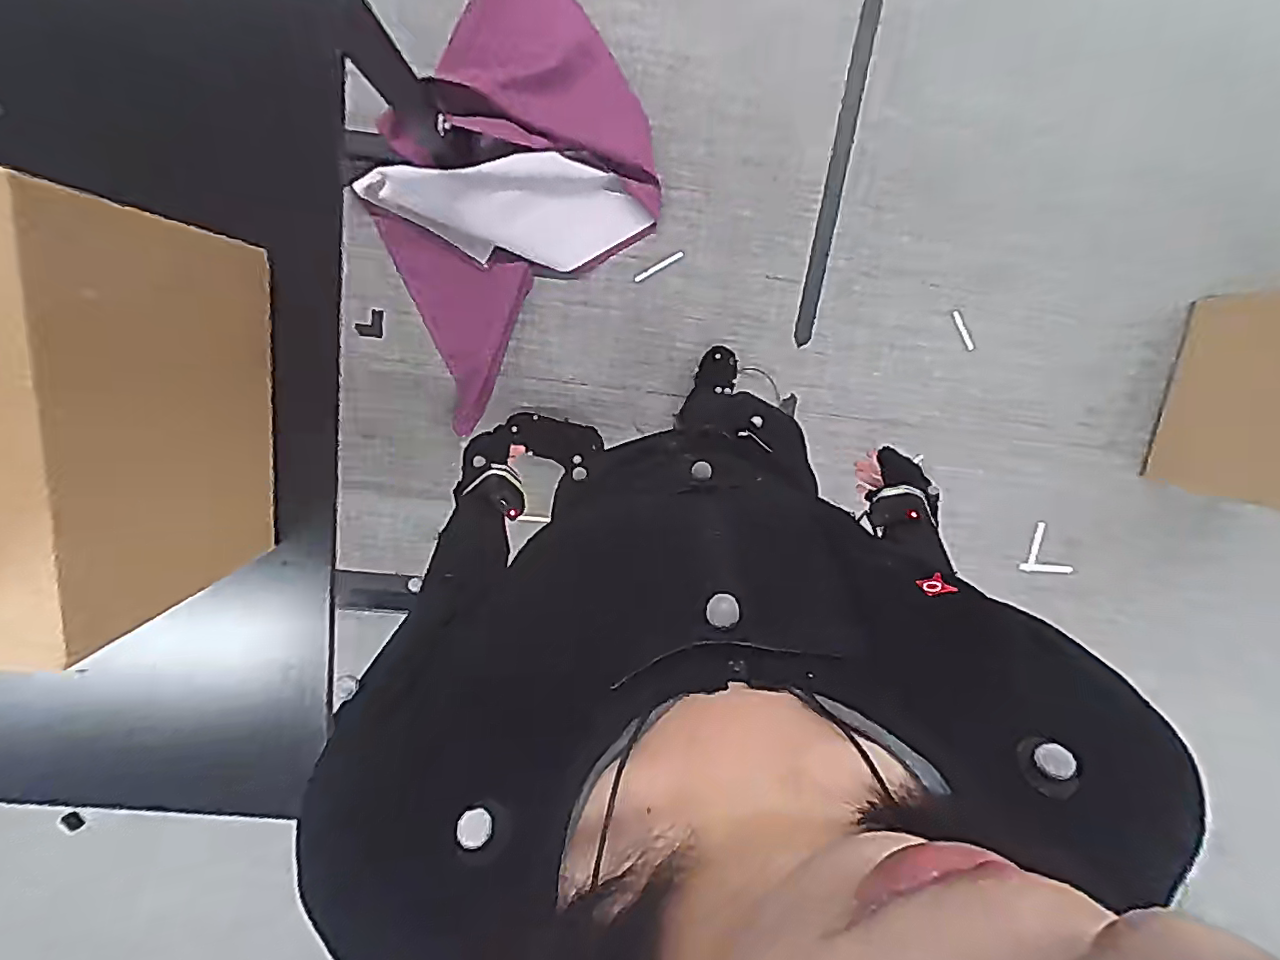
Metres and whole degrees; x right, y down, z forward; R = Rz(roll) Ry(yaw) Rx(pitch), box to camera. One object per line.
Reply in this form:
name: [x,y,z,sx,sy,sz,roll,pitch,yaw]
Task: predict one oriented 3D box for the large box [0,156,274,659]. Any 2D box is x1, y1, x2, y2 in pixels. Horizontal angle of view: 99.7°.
large box: [-0.630,-0.079,0.557,0.320,0.320,0.408,5,101,-6]
